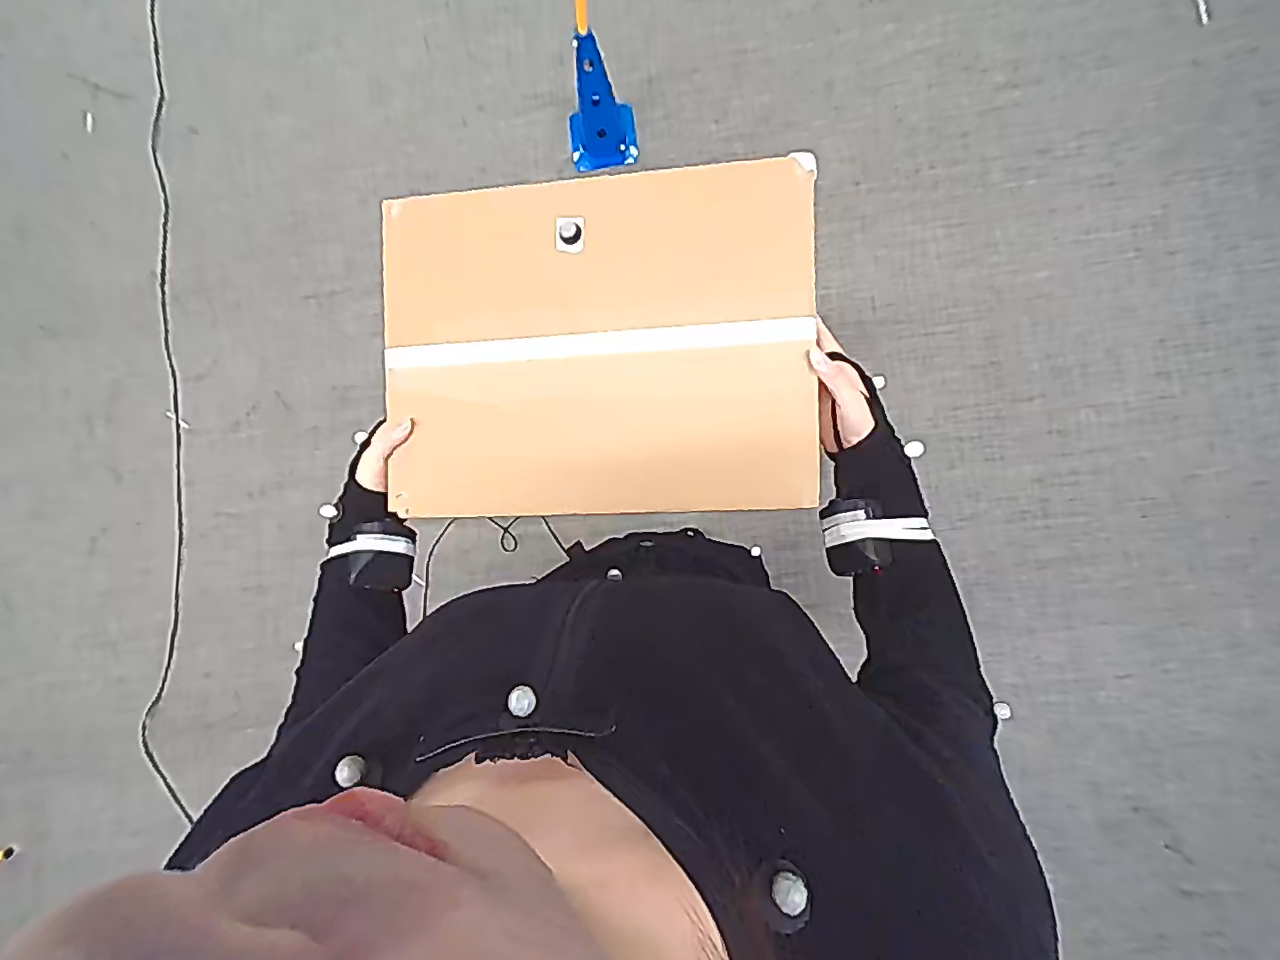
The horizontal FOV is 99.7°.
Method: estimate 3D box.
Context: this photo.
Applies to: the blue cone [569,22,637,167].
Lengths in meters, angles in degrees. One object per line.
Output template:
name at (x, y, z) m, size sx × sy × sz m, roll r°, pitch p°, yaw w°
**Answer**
blue cone at (-0.121, -1.057, 1.460) m, size 0.193 × 0.380 × 0.192 m, roll -9°, pitch 84°, yaw 2°
